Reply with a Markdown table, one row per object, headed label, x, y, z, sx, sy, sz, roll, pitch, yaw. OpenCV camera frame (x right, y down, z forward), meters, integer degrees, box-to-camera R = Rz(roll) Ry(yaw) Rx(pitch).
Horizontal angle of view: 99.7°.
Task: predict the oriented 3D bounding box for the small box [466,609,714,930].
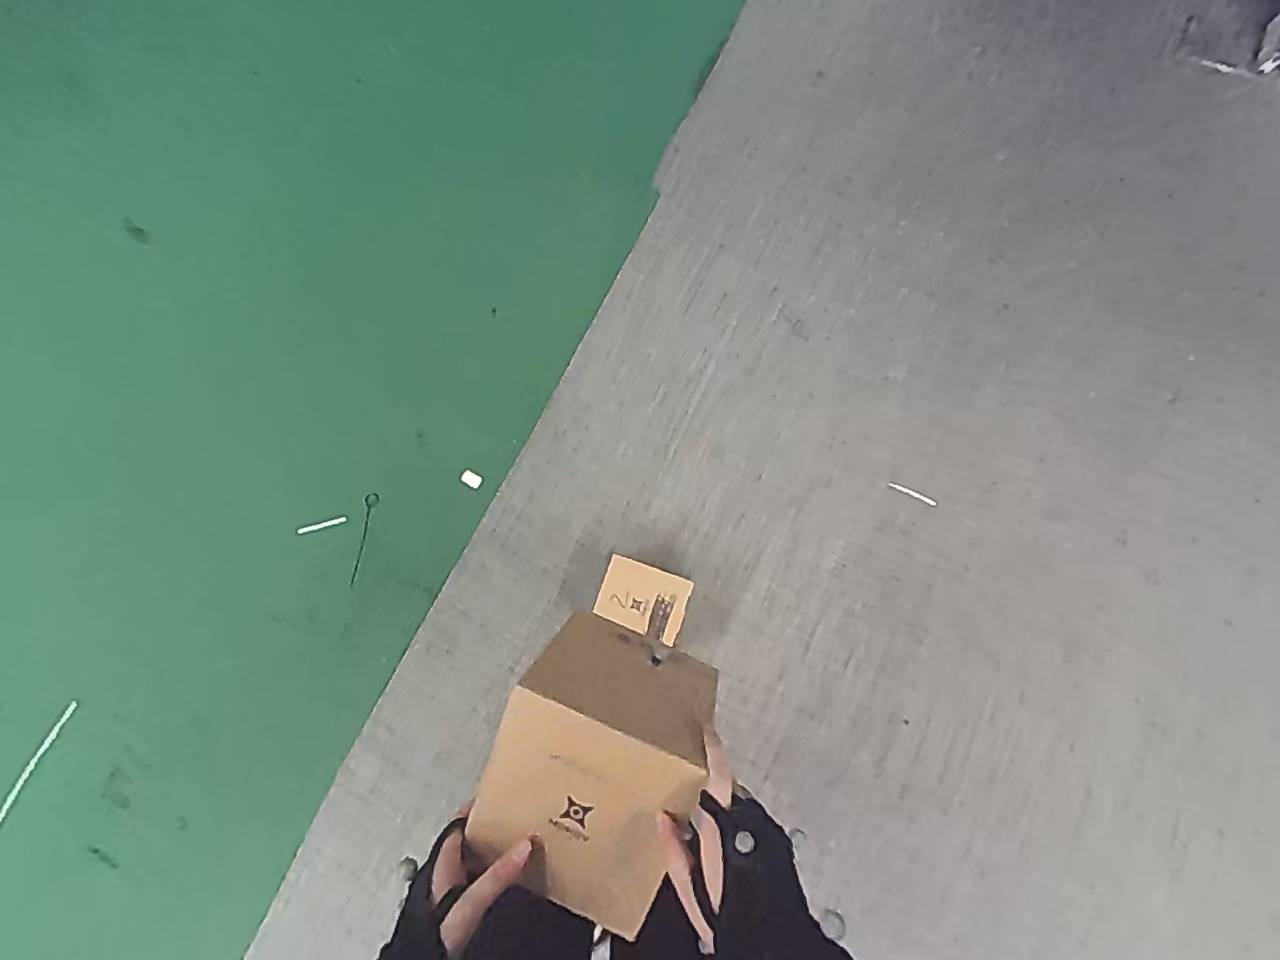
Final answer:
| label | x | y | z | sx | sy | sz | roll | pitch | yaw |
| --- | --- | --- | --- | --- | --- | --- | --- | --- | --- |
| small box | -0.034 | 0.256 | 0.521 | 0.168 | 0.176 | 0.179 | 22 | 101 | 7 |
